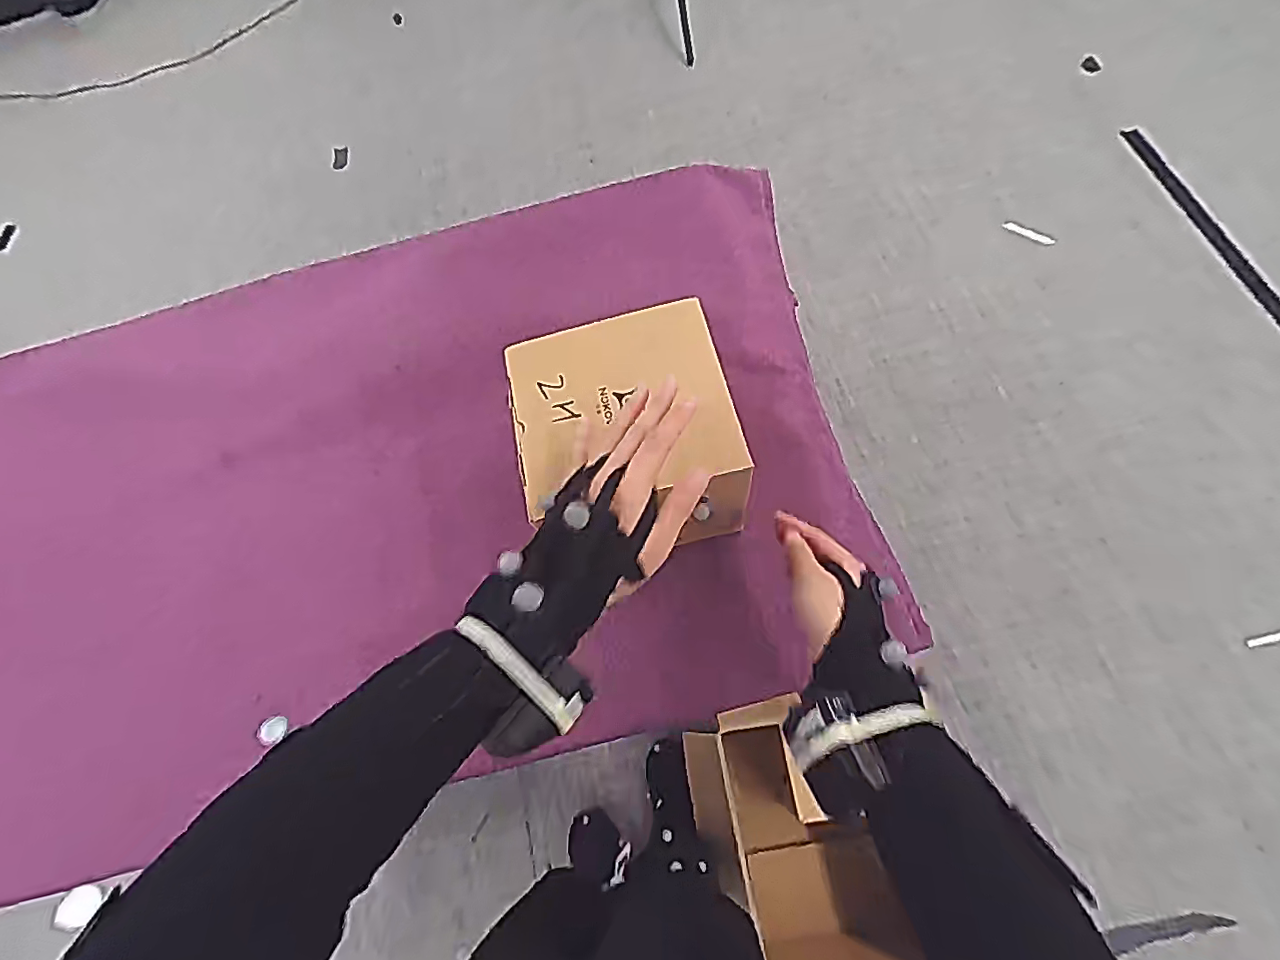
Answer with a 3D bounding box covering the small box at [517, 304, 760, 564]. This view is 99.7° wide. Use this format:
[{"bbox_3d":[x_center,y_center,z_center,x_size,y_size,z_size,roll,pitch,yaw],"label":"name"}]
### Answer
[{"bbox_3d":[0.000,-0.031,0.514,0.179,0.176,0.168,-14,67,2],"label":"small box"}]
